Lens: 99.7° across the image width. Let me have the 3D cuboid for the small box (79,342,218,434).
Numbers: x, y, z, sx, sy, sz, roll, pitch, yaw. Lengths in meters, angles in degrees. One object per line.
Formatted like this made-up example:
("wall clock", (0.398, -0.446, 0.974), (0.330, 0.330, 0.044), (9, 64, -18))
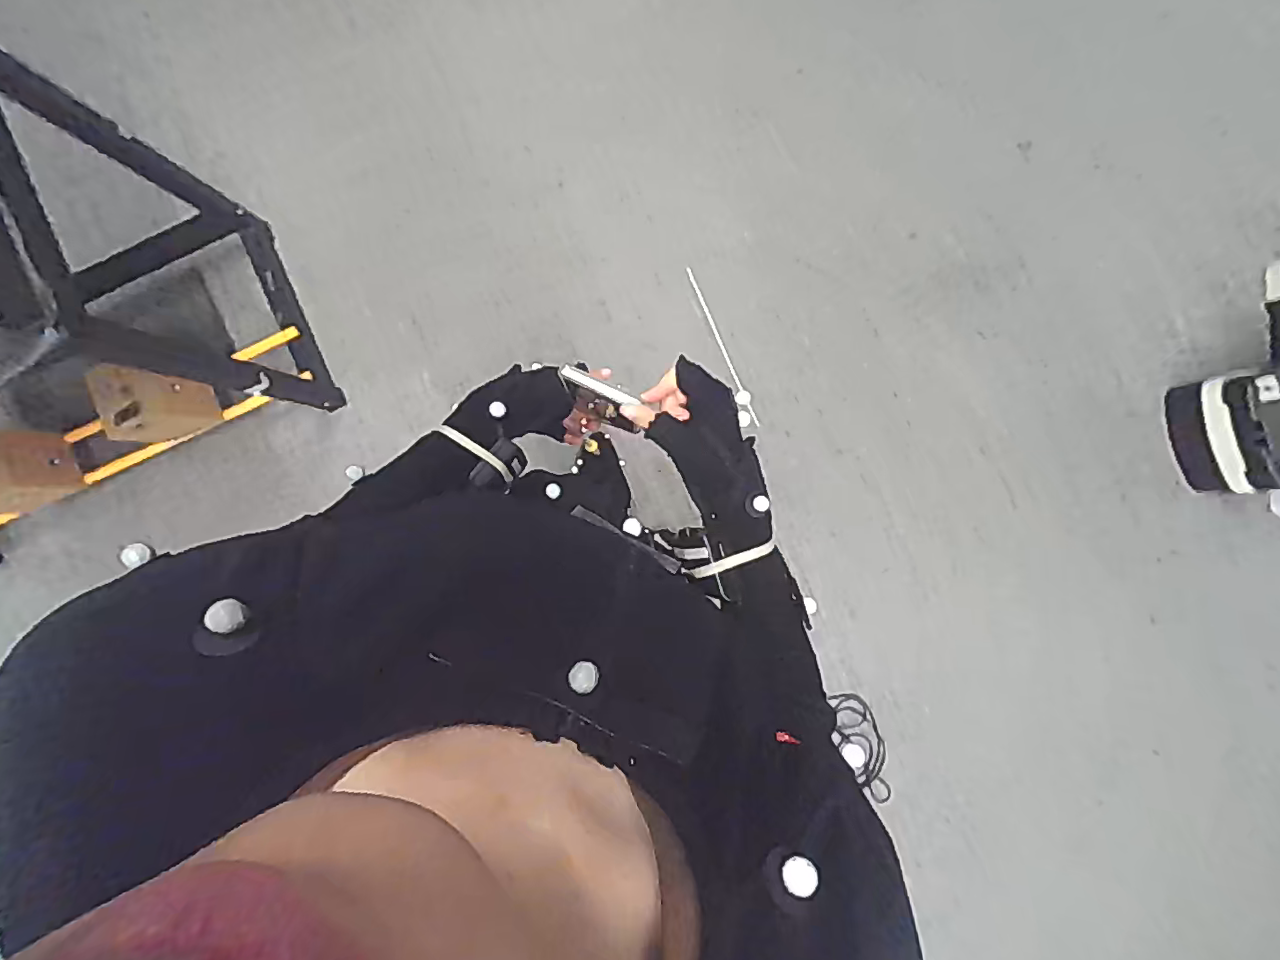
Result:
("small box", (-1.206, -0.218, 1.342), (0.168, 0.176, 0.179), (-20, 90, 2))
